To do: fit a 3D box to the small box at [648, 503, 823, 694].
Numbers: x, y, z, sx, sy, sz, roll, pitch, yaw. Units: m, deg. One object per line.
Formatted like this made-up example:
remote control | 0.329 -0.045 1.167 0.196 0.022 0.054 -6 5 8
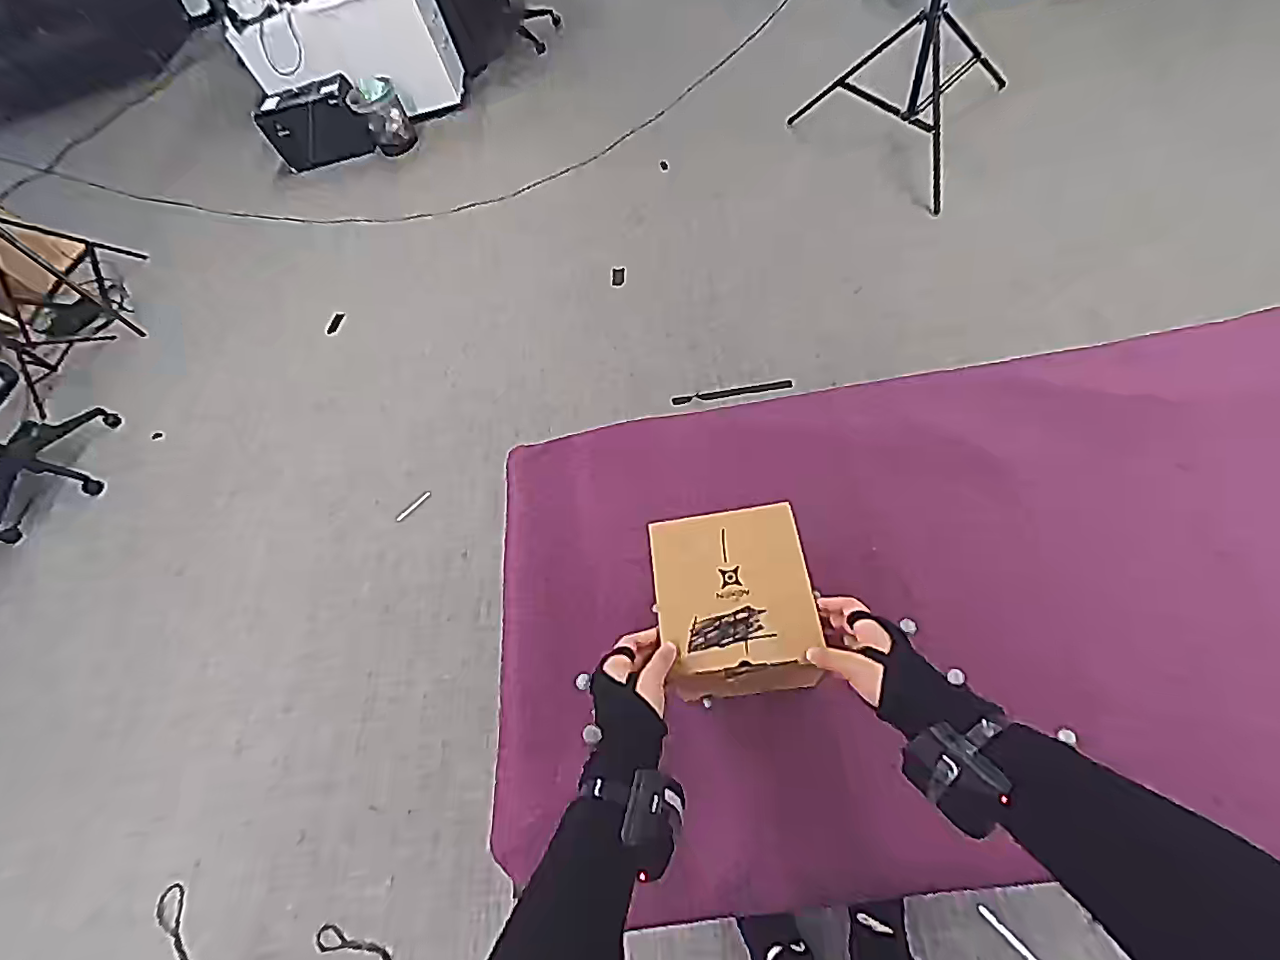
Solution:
small box | 0.111 0.151 0.647 0.168 0.176 0.179 -10 59 6
